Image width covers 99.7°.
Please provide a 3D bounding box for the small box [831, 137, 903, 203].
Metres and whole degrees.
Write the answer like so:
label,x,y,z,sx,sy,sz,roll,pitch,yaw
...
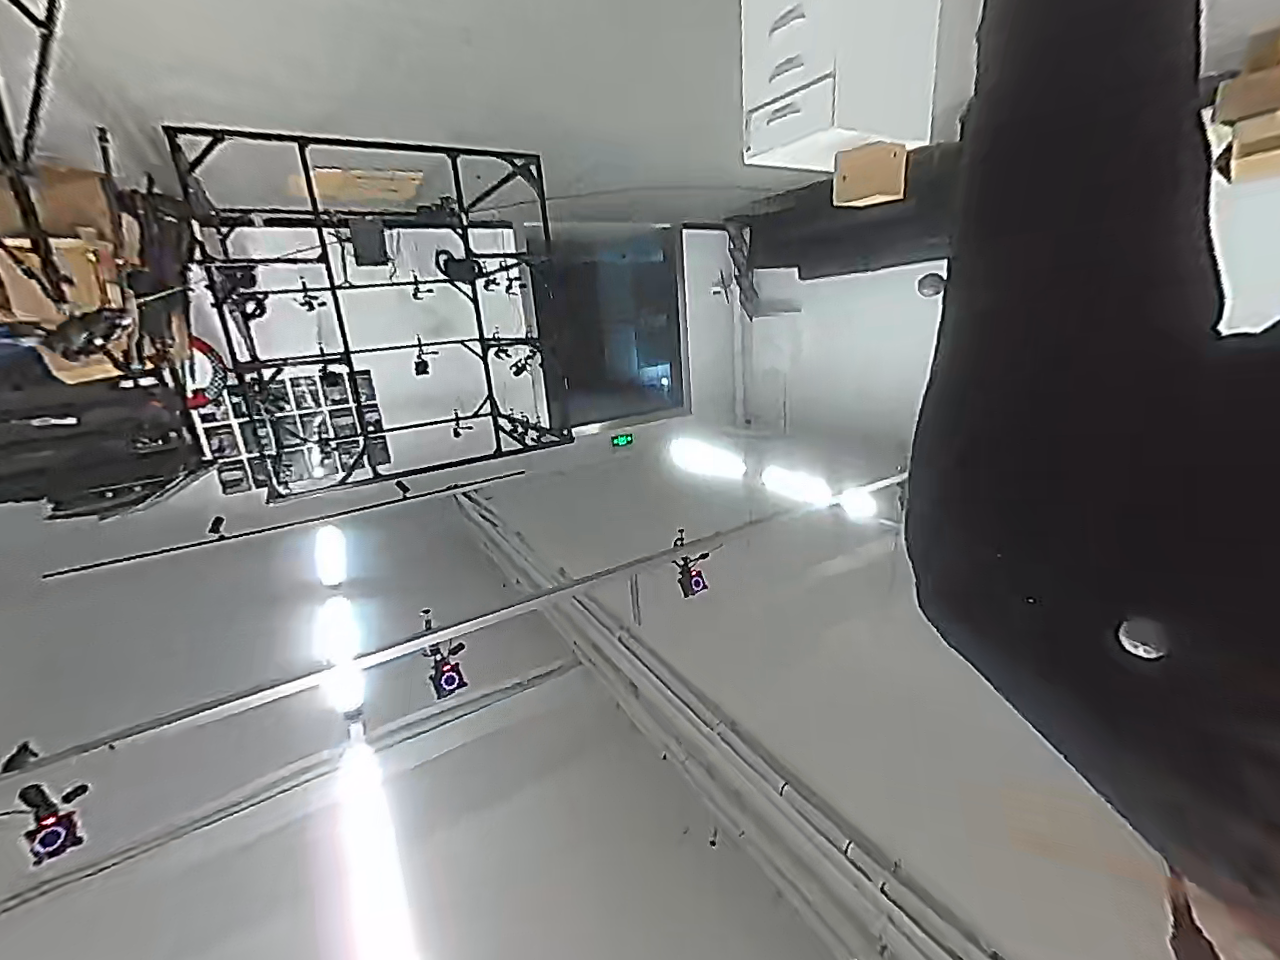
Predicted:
label,x,y,z,sx,sy,sz,roll,pitch,yaw
small box,0.801,-1.088,1.908,0.168,0.176,0.179,-17,-158,-32
